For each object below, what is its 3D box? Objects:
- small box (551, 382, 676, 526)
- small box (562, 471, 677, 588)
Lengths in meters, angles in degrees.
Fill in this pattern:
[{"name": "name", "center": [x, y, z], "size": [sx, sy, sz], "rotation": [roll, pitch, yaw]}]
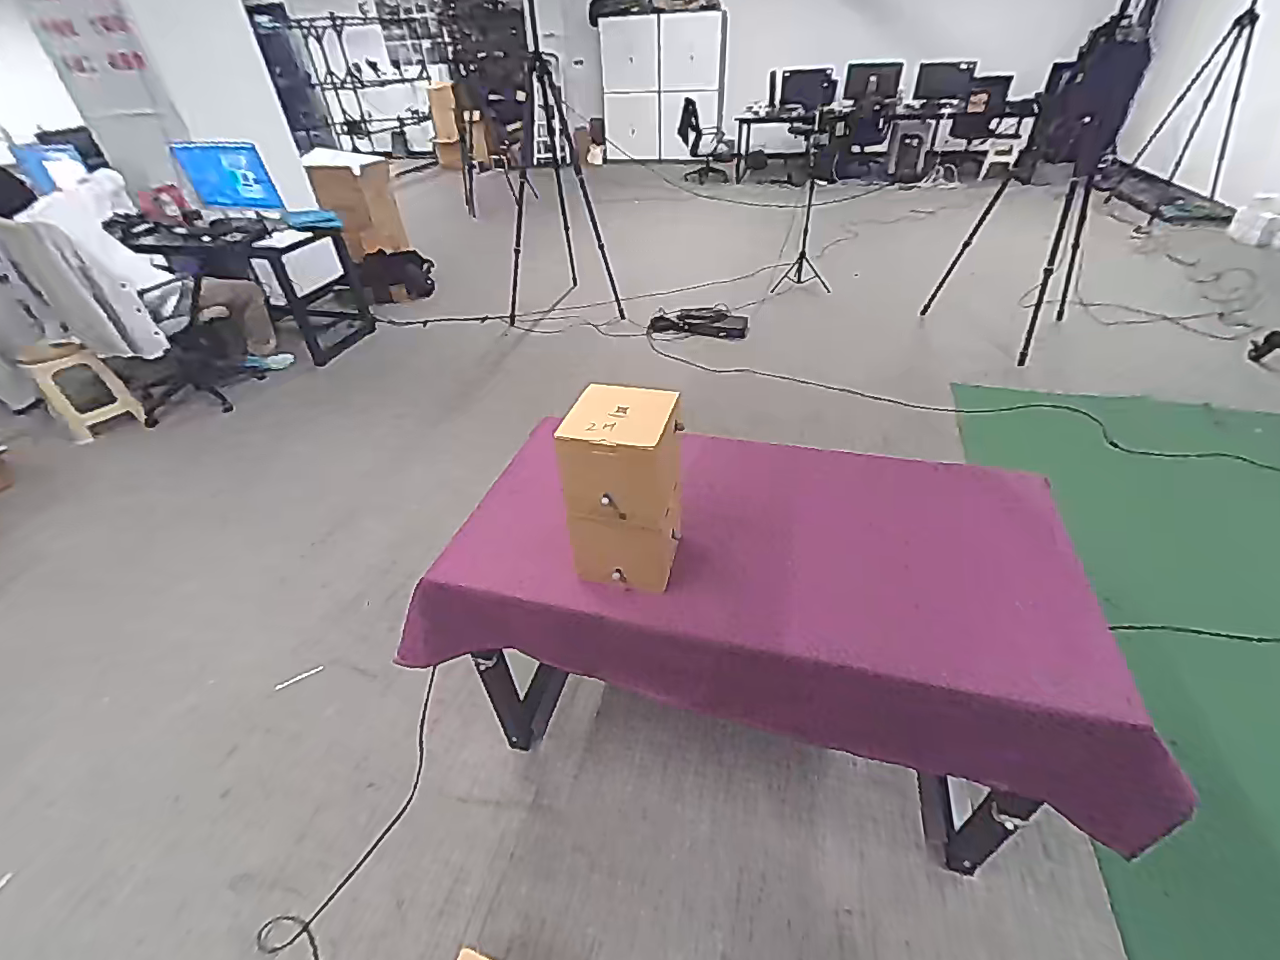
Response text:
[{"name": "small box", "center": [-0.037, -0.047, 0.932], "size": [0.168, 0.176, 0.179], "rotation": [8, 40, 14]}, {"name": "small box", "center": [-0.032, 0.085, 1.033], "size": [0.179, 0.176, 0.168], "rotation": [8, 40, 12]}]
